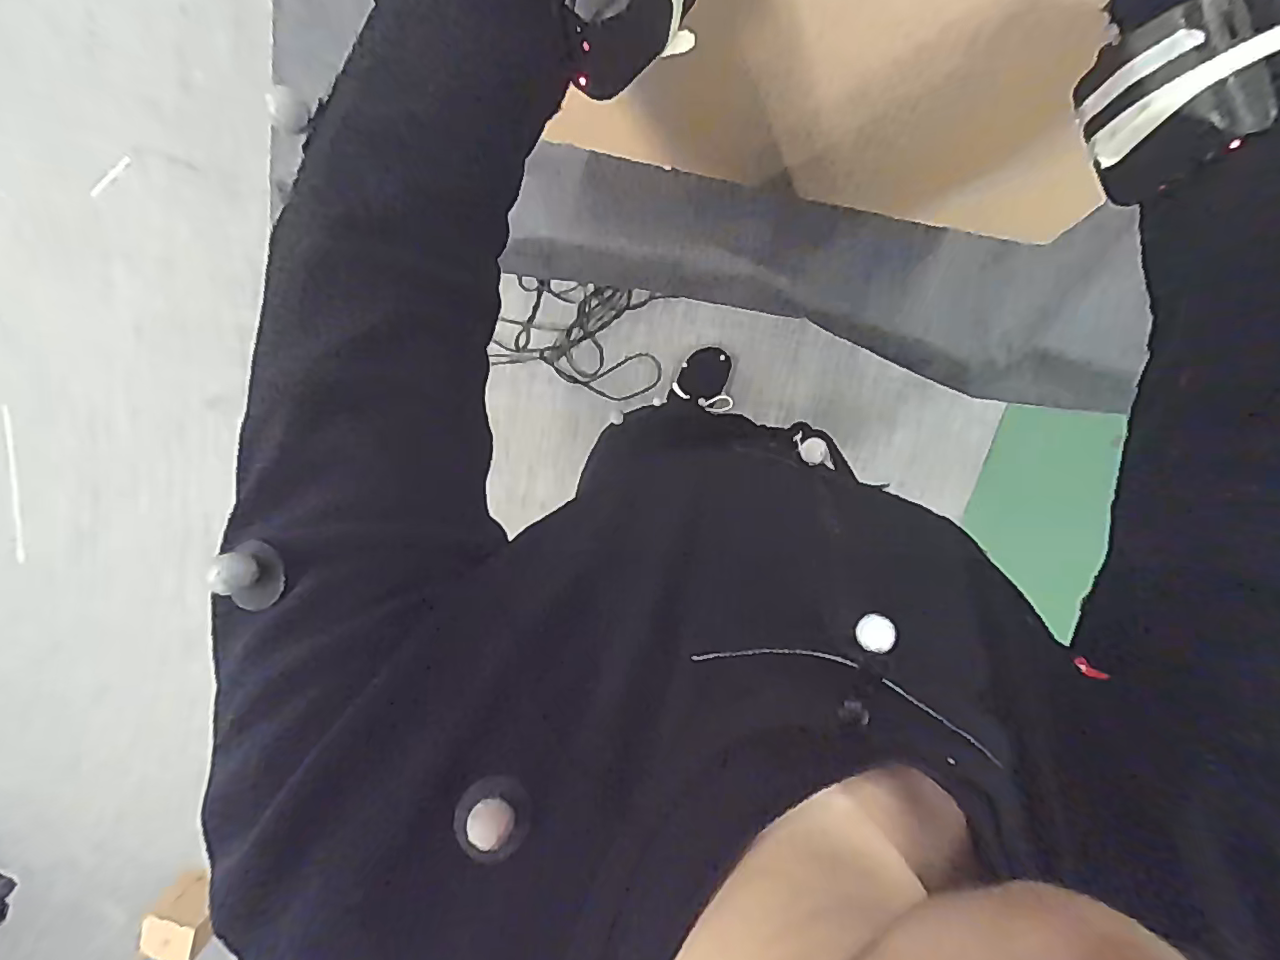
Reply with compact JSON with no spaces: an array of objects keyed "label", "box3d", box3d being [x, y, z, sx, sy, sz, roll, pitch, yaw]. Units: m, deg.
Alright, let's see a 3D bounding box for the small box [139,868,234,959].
[{"label":"small box","box3d":[-1.475,1.422,1.767,0.168,0.176,0.179,19,105,0]}]
